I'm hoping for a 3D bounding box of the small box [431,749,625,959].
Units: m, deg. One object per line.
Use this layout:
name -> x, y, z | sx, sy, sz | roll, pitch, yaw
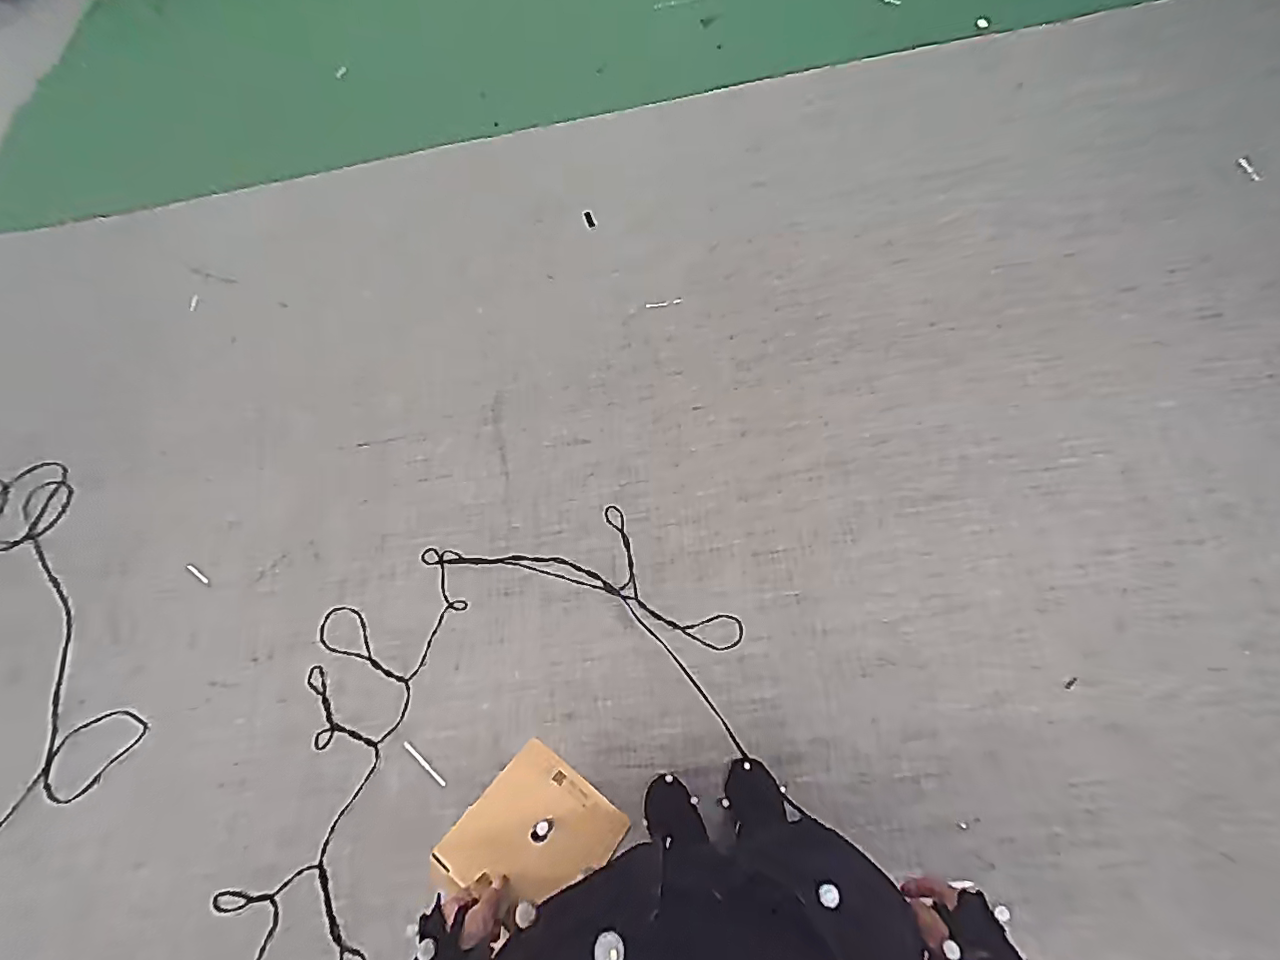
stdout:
small box -> -0.139, 0.483, 0.686 | 0.168, 0.179, 0.176 | 34, 43, 17
